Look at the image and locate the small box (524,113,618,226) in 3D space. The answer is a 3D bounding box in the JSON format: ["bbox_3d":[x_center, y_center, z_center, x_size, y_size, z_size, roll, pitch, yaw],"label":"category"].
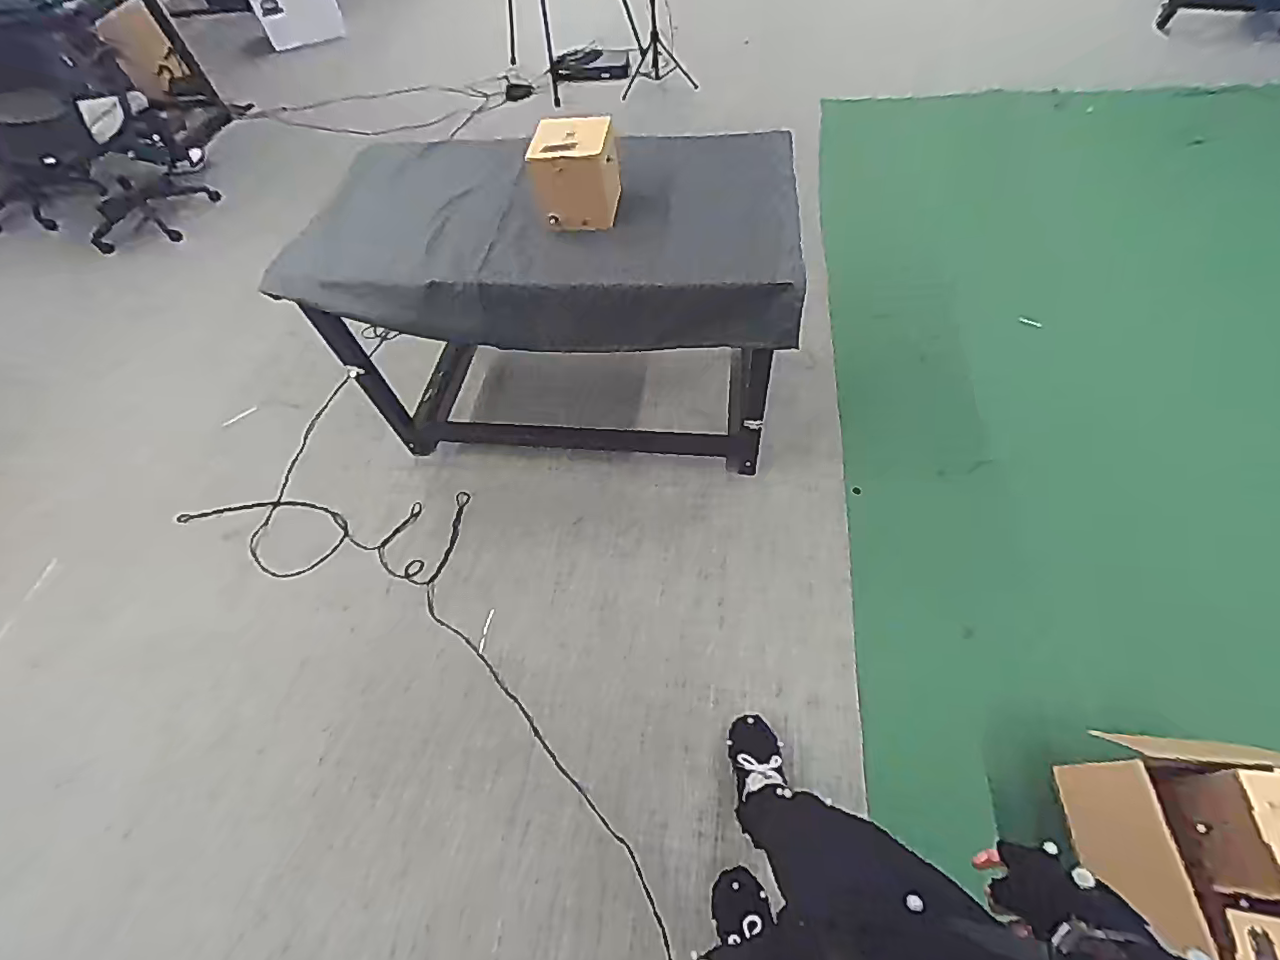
[{"bbox_3d":[-0.148,-0.702,1.235,0.168,0.176,0.179,2,57,8],"label":"small box"}]
